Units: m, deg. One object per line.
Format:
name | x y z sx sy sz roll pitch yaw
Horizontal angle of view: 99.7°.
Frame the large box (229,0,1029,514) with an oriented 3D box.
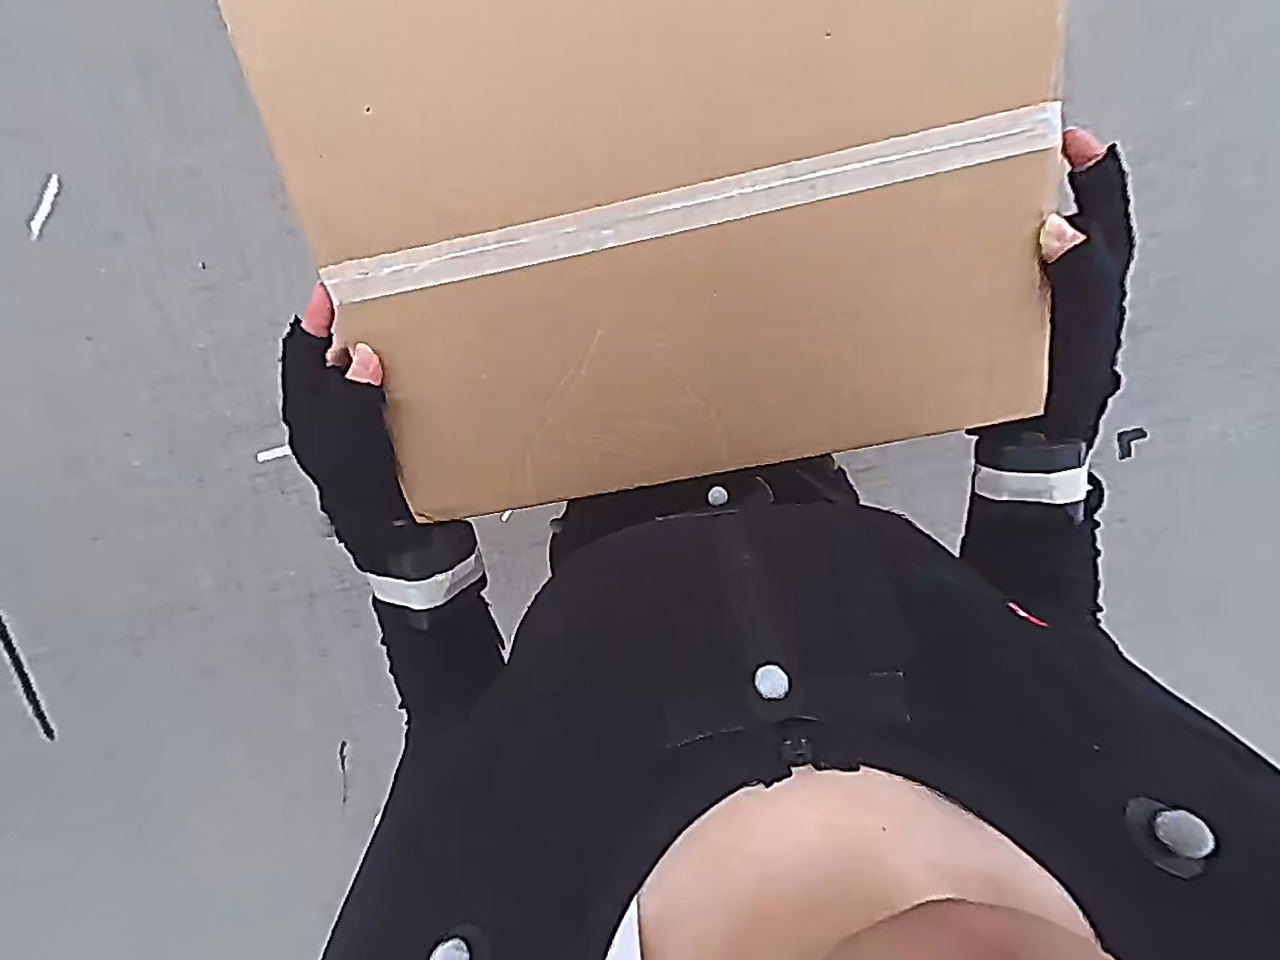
large box | 0.015 -0.206 0.447 0.408 0.320 0.320 -10 109 5
